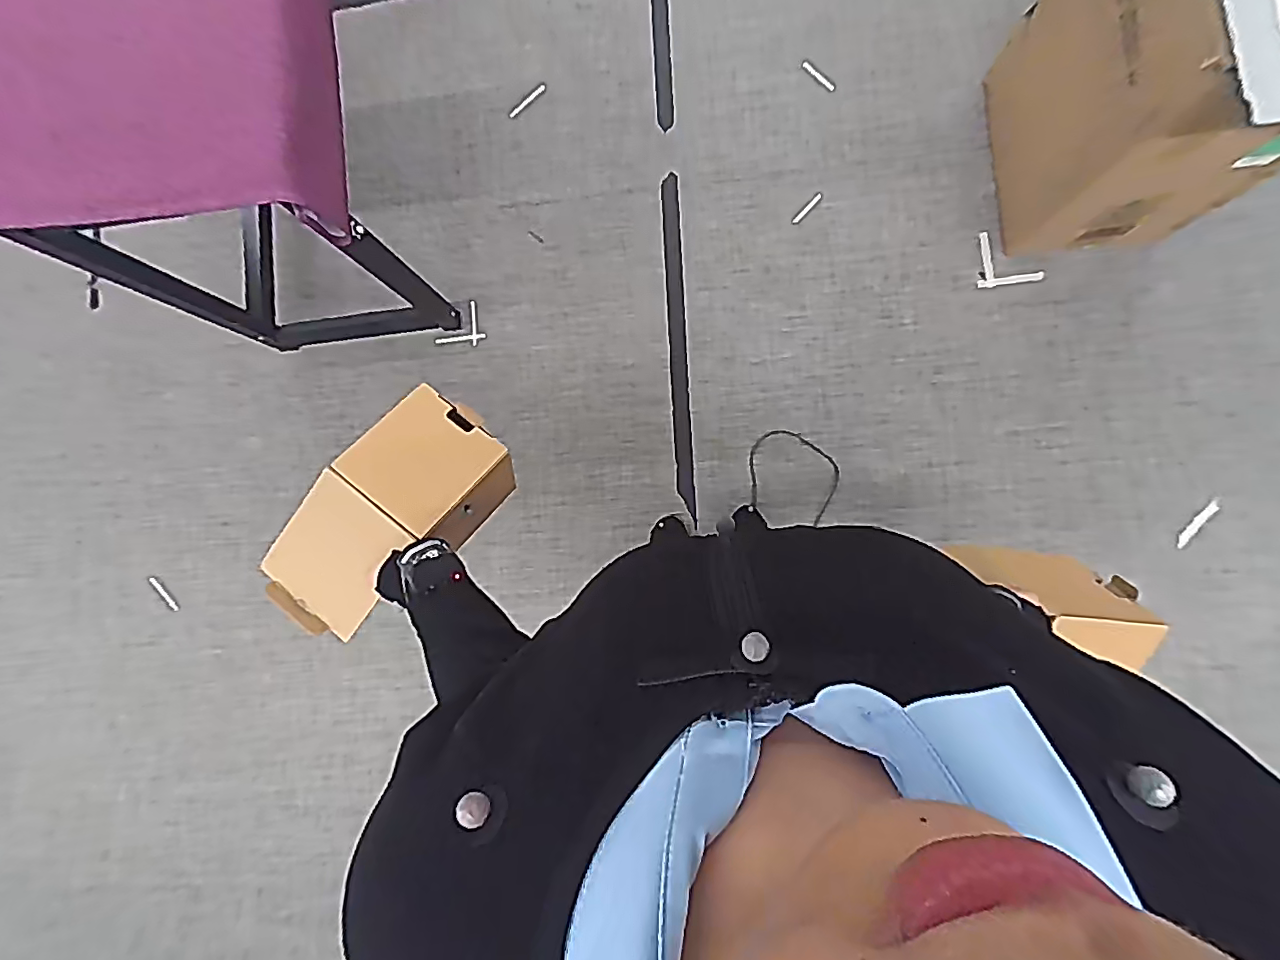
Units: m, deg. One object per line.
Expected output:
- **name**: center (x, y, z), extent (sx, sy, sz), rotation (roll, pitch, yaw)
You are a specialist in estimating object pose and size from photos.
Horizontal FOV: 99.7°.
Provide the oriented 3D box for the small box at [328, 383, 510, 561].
- **small box**: center (-0.310, -0.002, 0.806), extent (0.168, 0.176, 0.179), rotation (38, 68, 5)
